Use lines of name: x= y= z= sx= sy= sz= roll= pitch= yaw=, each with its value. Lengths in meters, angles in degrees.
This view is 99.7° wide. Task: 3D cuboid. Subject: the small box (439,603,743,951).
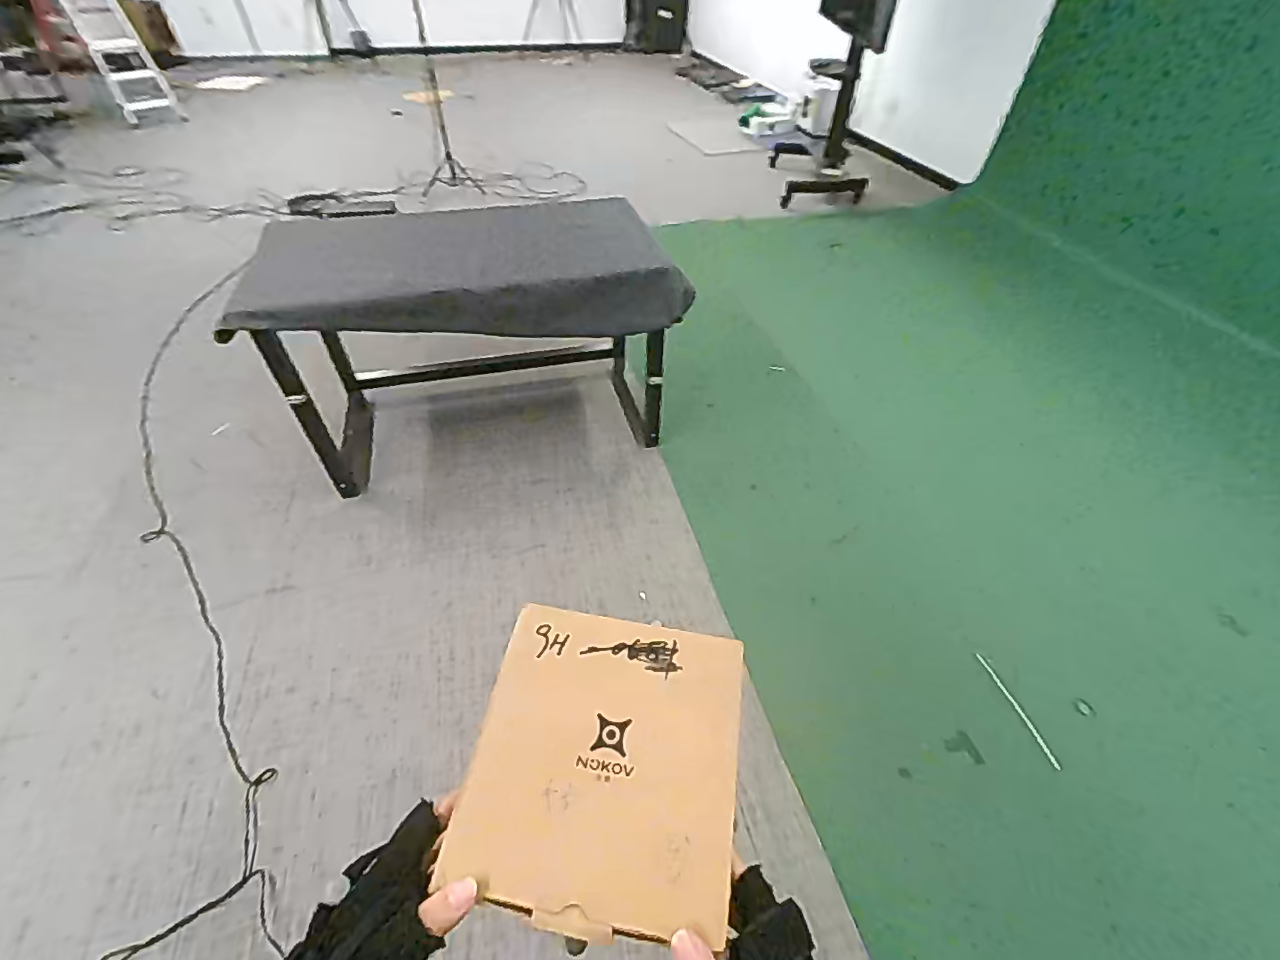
small box: x=-0.020 y=0.217 z=0.407 sx=0.168 sy=0.176 sz=0.179 roll=7 pitch=53 yaw=5
